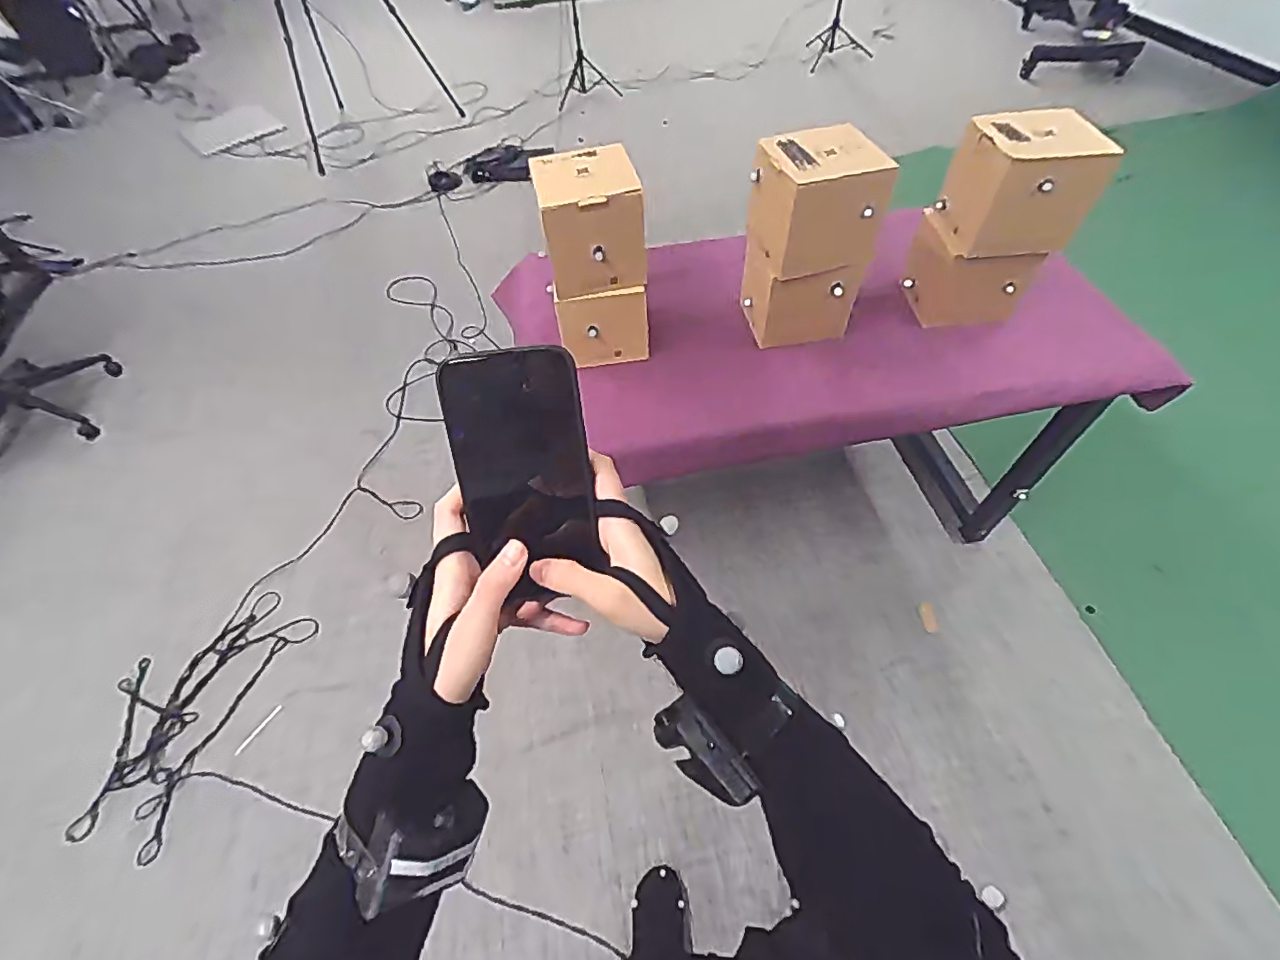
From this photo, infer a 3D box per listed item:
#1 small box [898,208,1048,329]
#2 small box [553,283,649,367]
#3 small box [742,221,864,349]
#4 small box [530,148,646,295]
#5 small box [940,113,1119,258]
[{"bbox_3d":[0.651,-0.422,1.080,0.179,0.176,0.168,-3,54,2],"label":"small box"},{"bbox_3d":[-0.076,-0.342,1.077,0.168,0.176,0.179,-8,54,-2],"label":"small box"},{"bbox_3d":[0.312,-0.383,1.077,0.179,0.176,0.168,-8,54,-2],"label":"small box"},{"bbox_3d":[-0.088,-0.444,0.949,0.168,0.176,0.179,-12,55,-5],"label":"small box"},{"bbox_3d":[0.652,-0.506,0.940,0.179,0.176,0.168,-3,54,1],"label":"small box"}]
